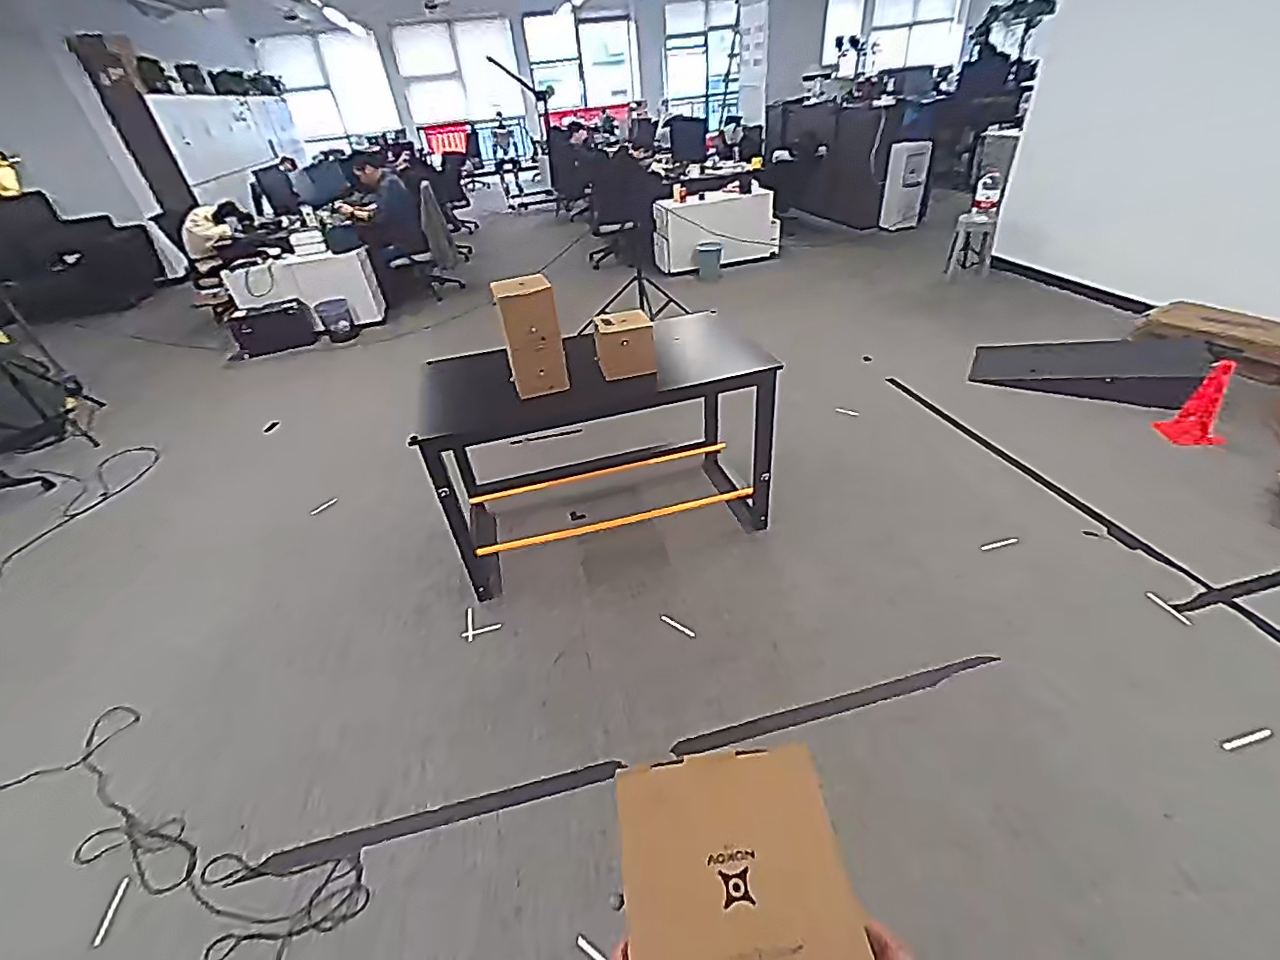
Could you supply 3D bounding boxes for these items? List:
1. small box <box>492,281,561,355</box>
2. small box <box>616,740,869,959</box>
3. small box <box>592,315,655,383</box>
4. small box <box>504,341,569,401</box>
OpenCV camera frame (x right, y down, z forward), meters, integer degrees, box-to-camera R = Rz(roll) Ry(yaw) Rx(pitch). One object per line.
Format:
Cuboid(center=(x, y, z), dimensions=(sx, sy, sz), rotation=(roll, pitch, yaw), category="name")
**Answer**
Cuboid(center=(-0.360, -0.513, 1.711), dimensions=(0.168, 0.176, 0.179), rotation=(-17, 37, -13), category="small box")
Cuboid(center=(0.071, 0.350, 0.457), dimensions=(0.168, 0.176, 0.179), rotation=(-7, 44, -3), category="small box")
Cuboid(center=(-0.056, -0.446, 1.851), dimensions=(0.179, 0.176, 0.168), rotation=(-12, 36, -8), category="small box")
Cuboid(center=(-0.344, -0.377, 1.805), dimensions=(0.168, 0.176, 0.179), rotation=(-16, 37, -12), category="small box")
